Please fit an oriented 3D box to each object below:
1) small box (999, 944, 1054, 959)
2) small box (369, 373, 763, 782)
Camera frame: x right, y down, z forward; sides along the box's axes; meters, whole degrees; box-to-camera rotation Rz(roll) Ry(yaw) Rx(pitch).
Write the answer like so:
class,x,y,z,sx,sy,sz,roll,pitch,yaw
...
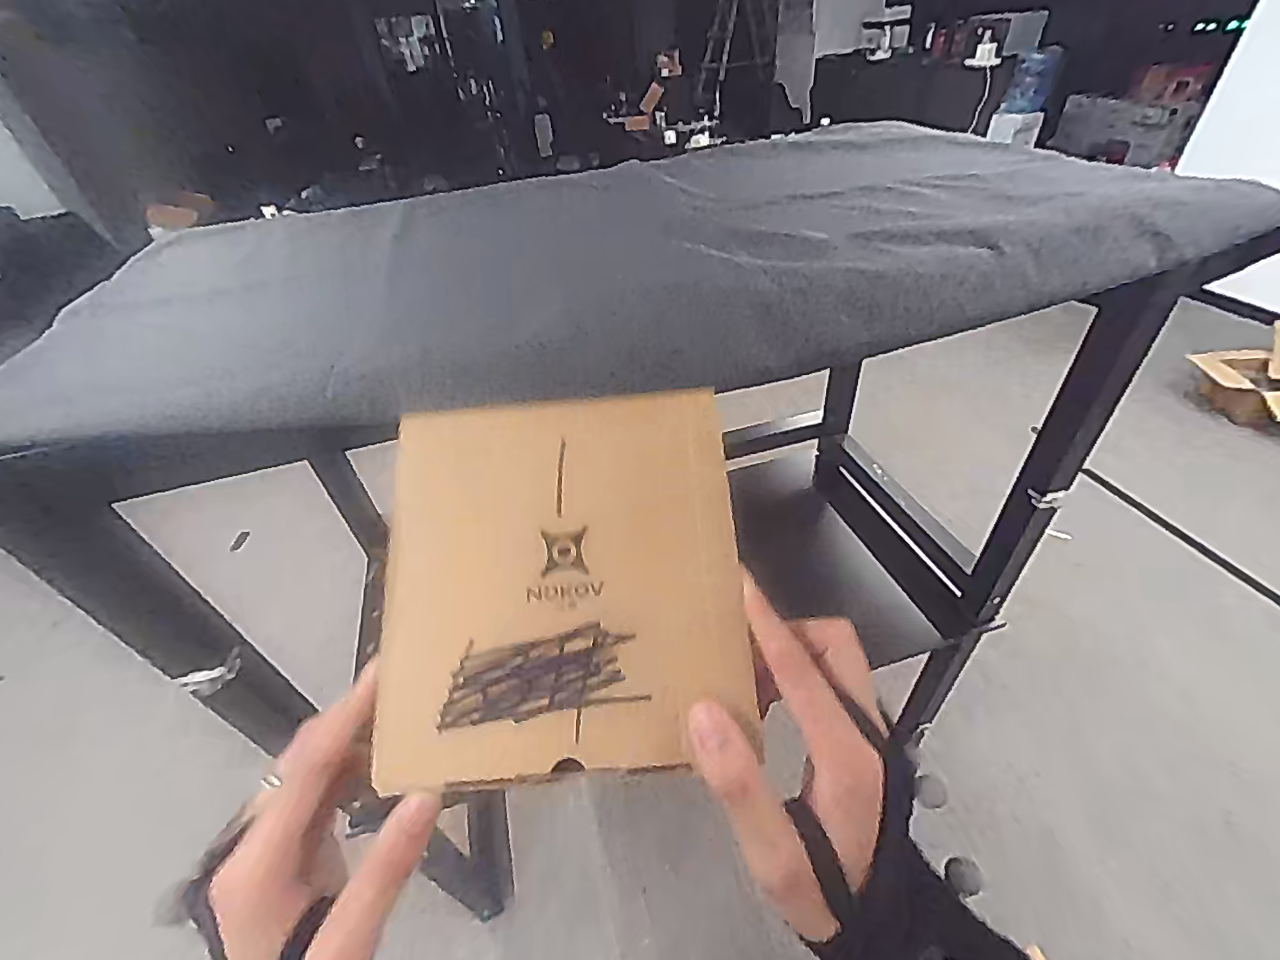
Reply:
class,x,y,z,sx,sy,sz,roll,pitch,yaw
small box,0.592,0.863,0.829,0.168,0.176,0.179,-17,42,-11
small box,-0.031,0.060,0.319,0.168,0.176,0.179,-5,70,1
